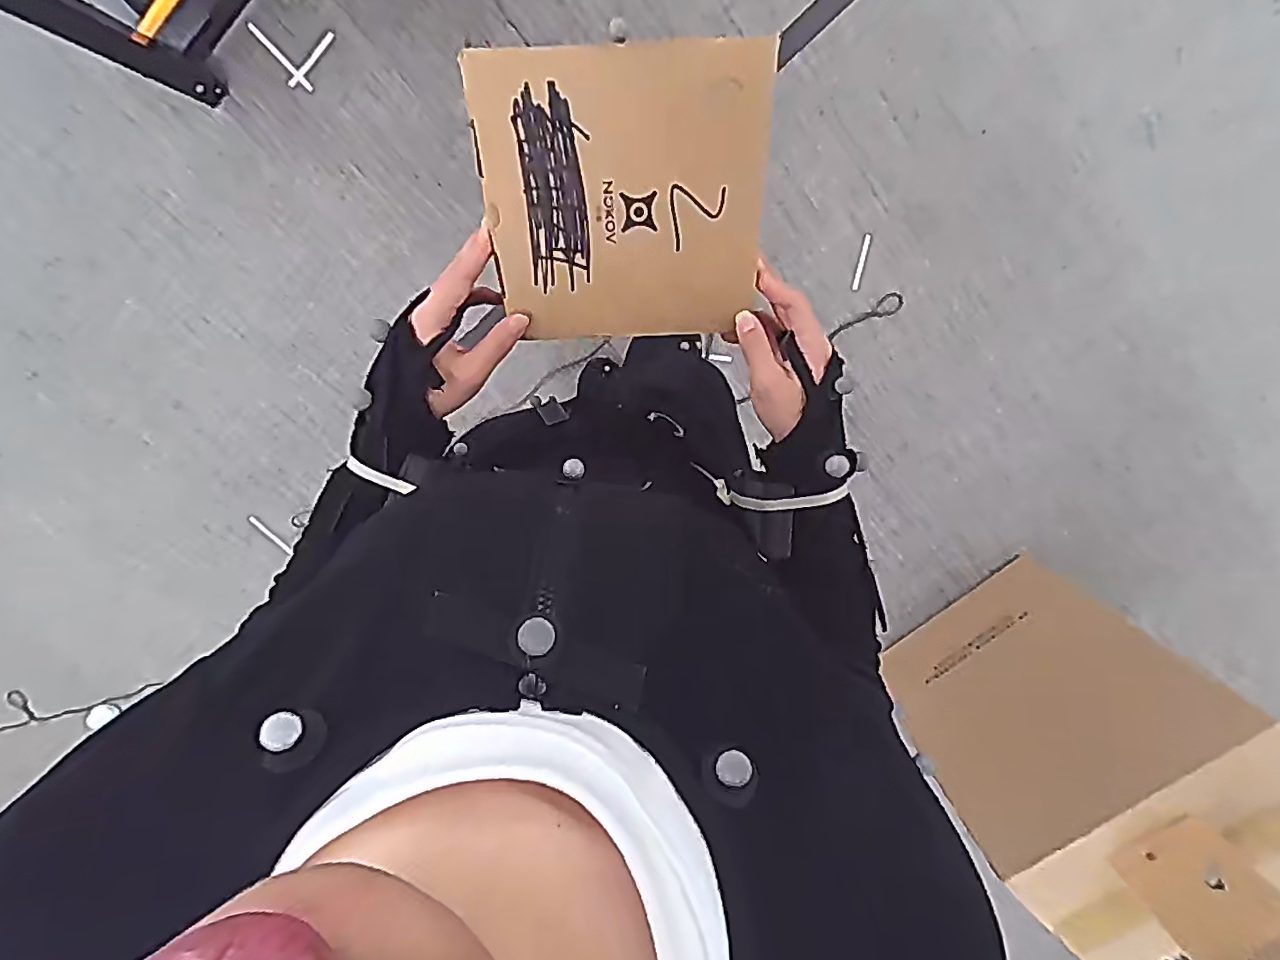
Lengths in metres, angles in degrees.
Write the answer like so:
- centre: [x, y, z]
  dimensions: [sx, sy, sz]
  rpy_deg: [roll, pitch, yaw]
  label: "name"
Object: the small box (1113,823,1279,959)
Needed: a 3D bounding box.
- centre: [0.939, 0.704, 0.881]
  dimensions: [0.168, 0.176, 0.179]
  rpy_deg: [-40, 105, 10]
  label: "small box"
